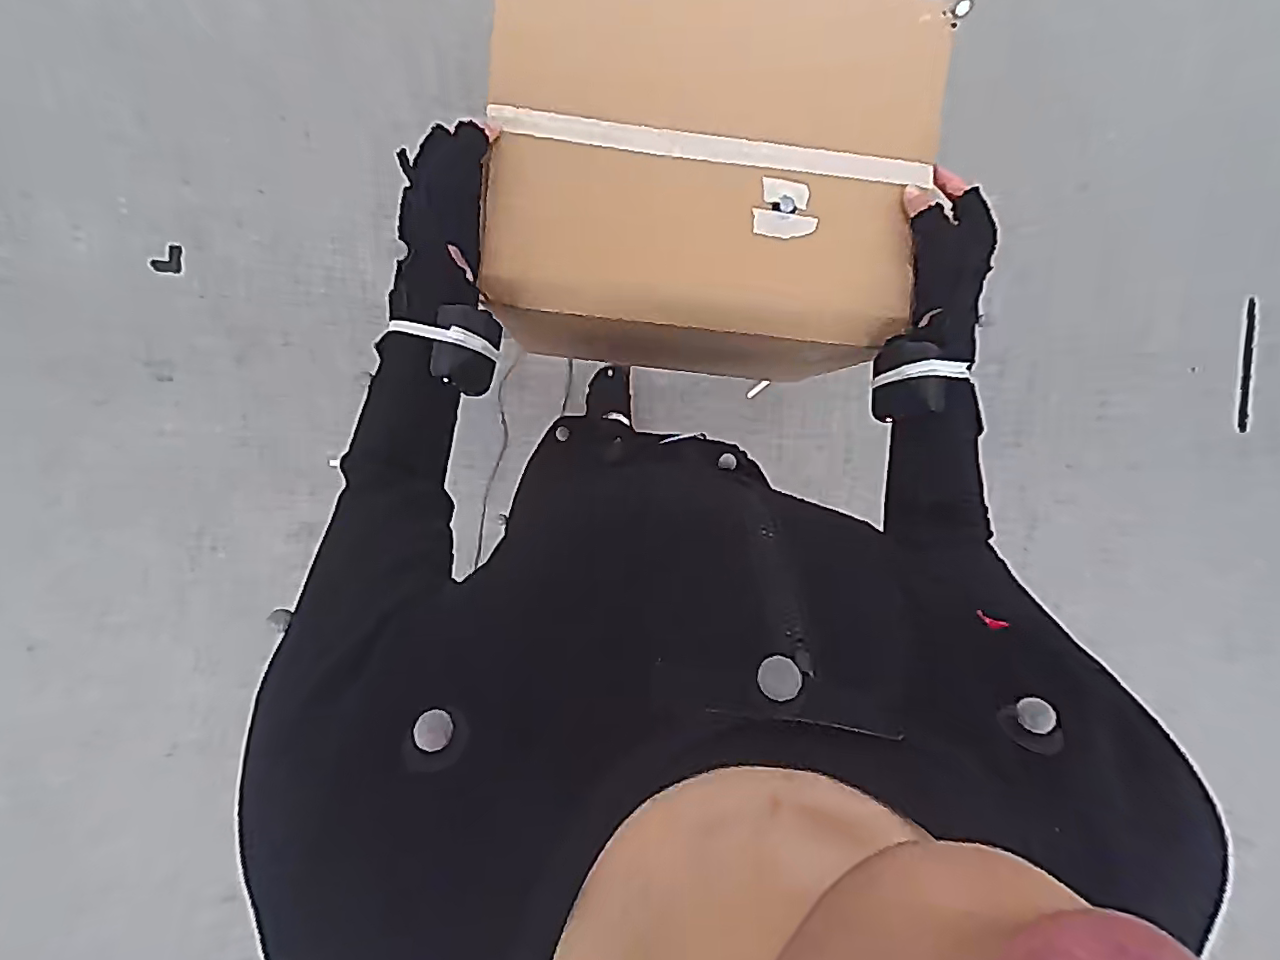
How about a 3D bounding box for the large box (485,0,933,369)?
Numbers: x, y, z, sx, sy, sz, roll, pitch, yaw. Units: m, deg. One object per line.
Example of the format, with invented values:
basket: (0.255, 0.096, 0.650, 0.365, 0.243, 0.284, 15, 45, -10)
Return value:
large box: (0.052, -0.320, 0.647, 0.408, 0.320, 0.320, 5, 96, -5)
